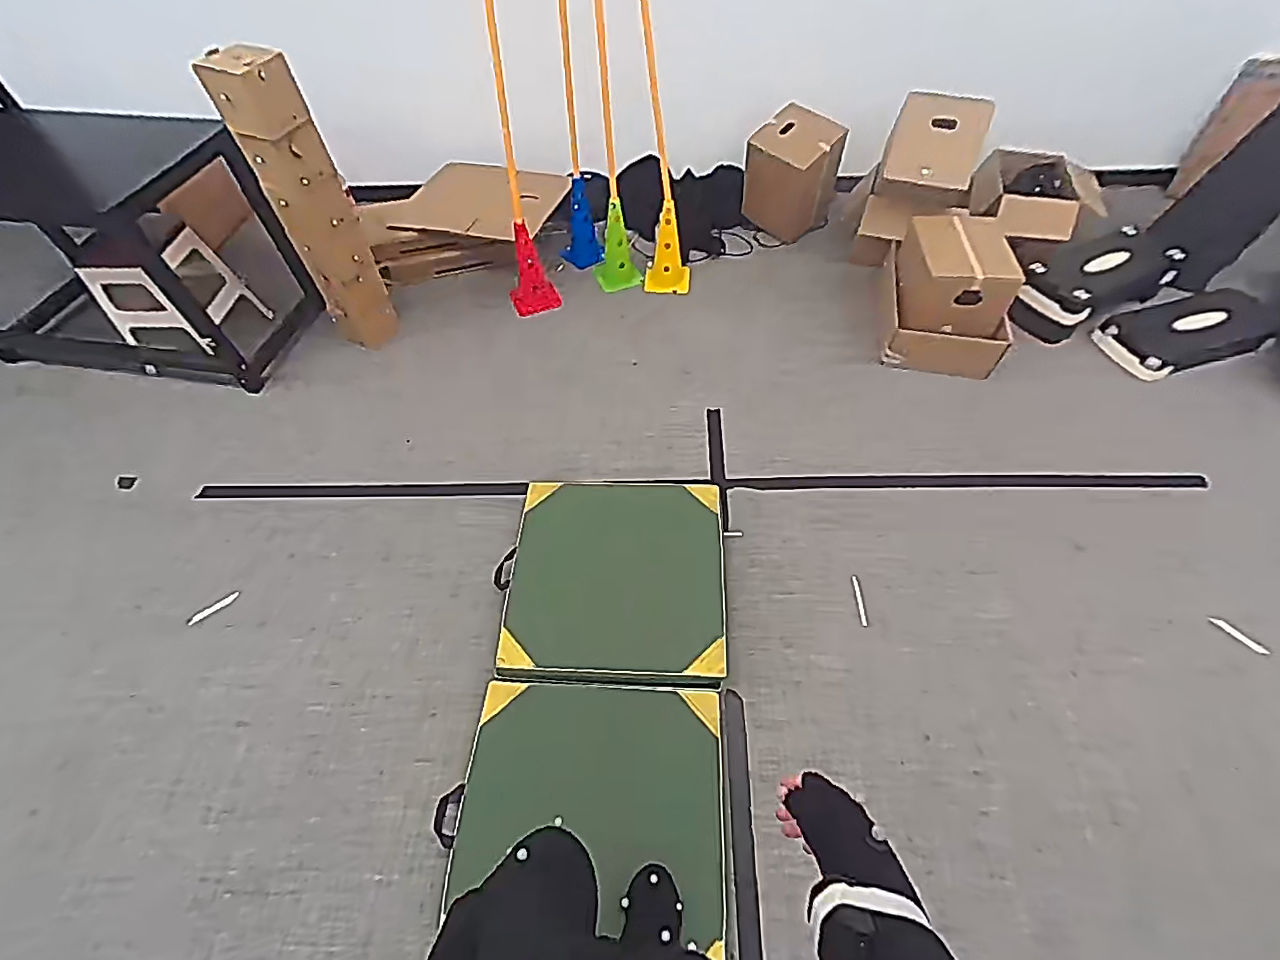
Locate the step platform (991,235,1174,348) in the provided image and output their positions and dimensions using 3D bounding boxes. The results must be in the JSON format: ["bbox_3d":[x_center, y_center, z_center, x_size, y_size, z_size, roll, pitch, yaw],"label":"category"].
[{"bbox_3d":[1.843,-0.795,2.254,0.684,0.204,0.286,-24,57,-14],"label":"step platform"}]
